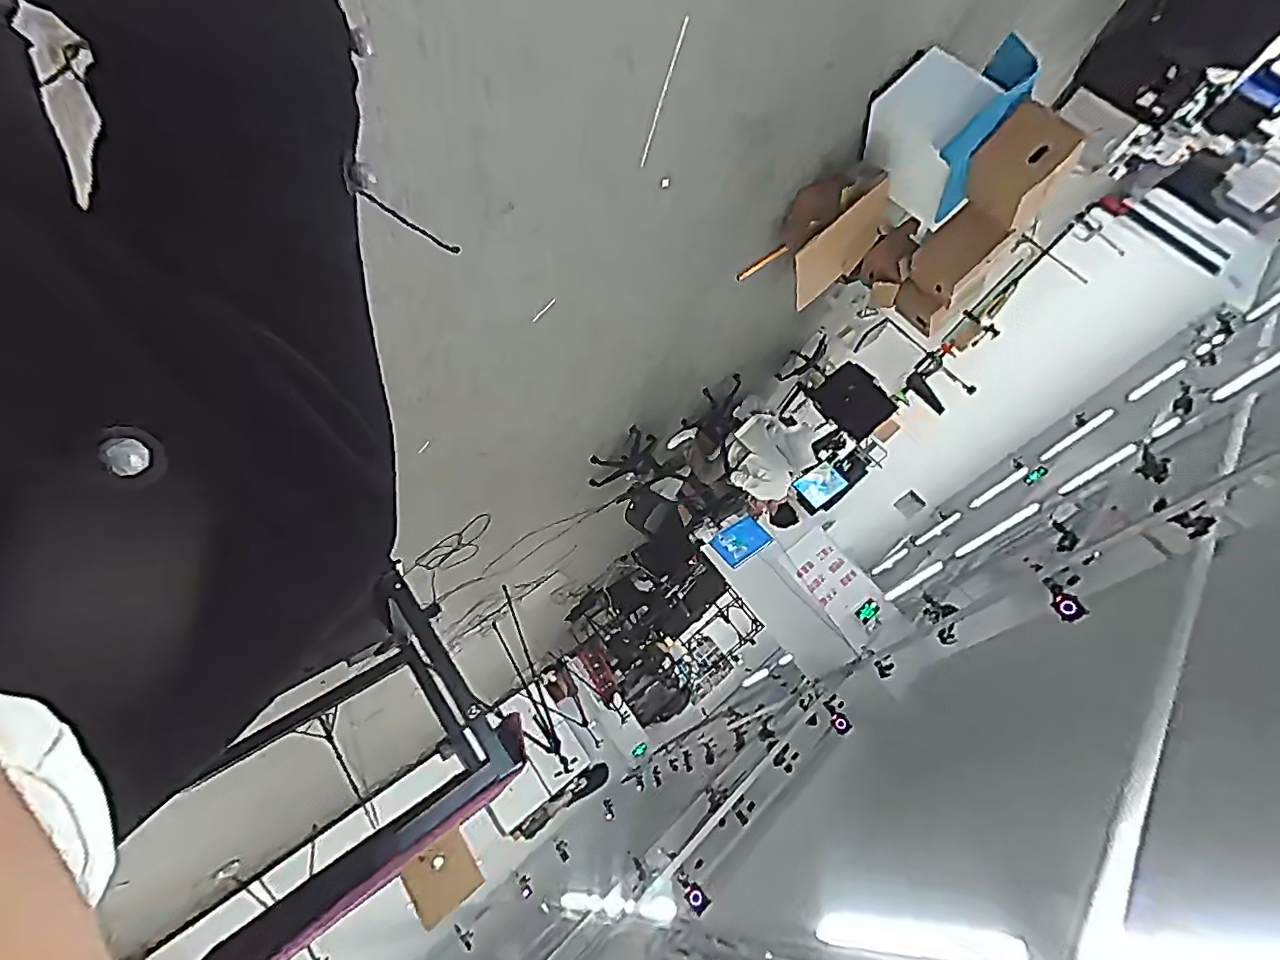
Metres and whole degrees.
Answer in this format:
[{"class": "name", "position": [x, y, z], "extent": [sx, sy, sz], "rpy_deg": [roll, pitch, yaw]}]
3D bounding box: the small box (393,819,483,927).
[{"class": "small box", "position": [-0.543, 1.046, 1.451], "extent": [0.168, 0.176, 0.179], "rpy_deg": [-27, 160, -34]}]
